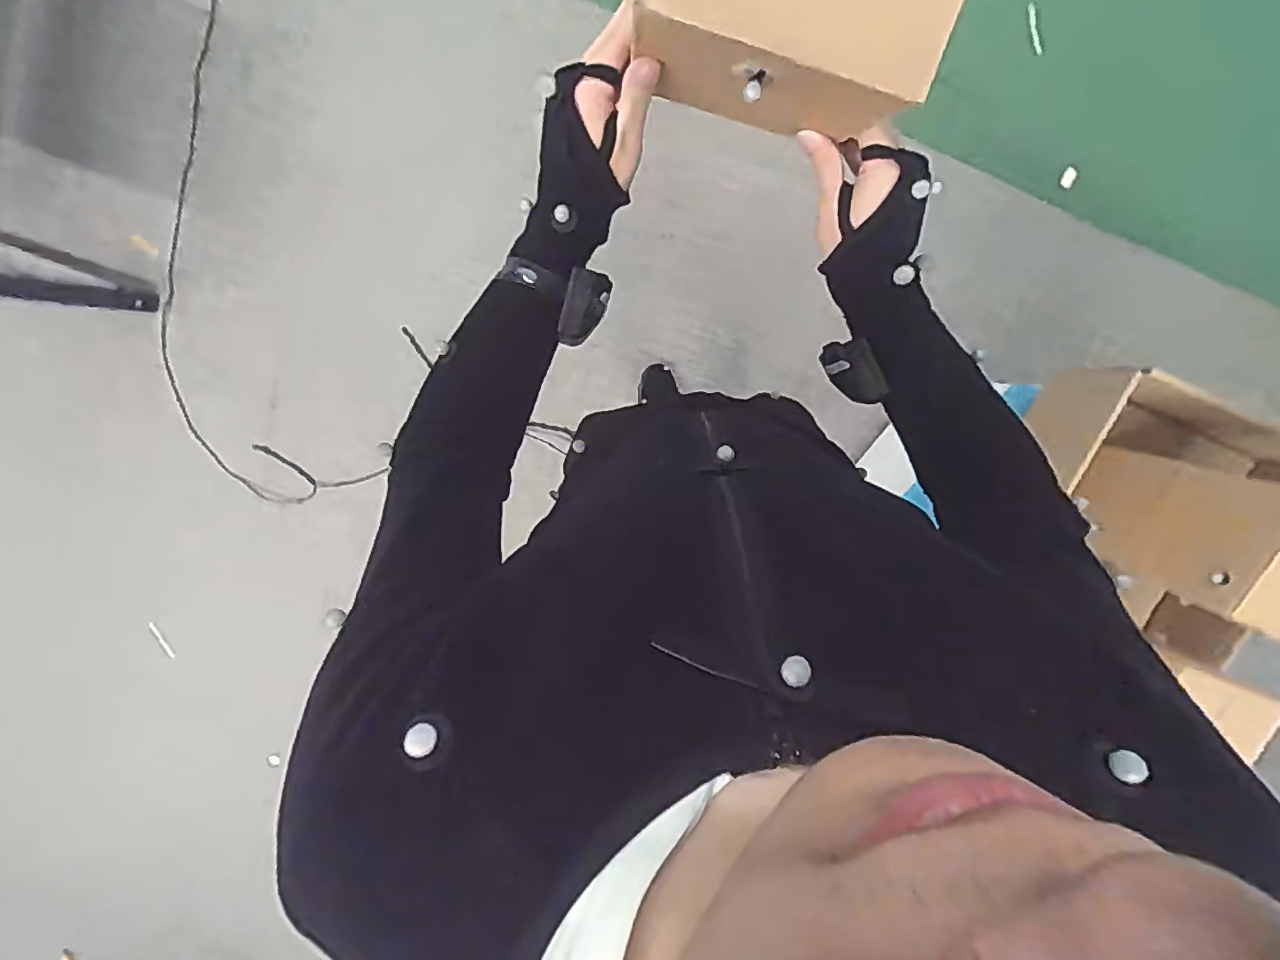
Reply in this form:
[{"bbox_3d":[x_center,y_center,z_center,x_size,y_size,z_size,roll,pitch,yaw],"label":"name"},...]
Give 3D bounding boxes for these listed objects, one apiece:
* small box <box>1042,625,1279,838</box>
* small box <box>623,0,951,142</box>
[{"bbox_3d":[0.713,0.335,0.749,0.168,0.176,0.179,22,99,-4],"label":"small box"},{"bbox_3d":[0.089,-0.337,0.338,0.179,0.176,0.168,13,112,-7],"label":"small box"}]
